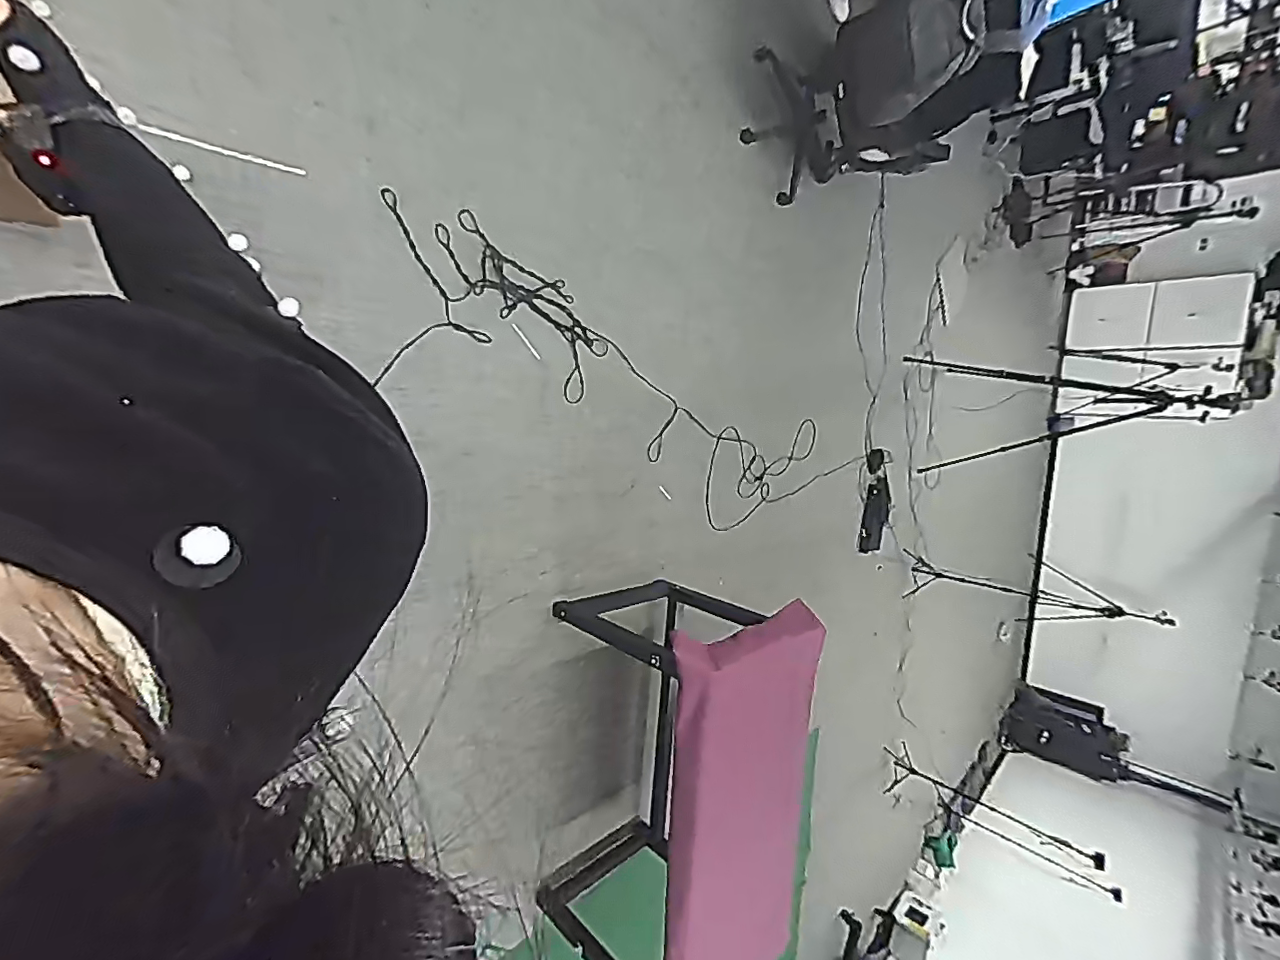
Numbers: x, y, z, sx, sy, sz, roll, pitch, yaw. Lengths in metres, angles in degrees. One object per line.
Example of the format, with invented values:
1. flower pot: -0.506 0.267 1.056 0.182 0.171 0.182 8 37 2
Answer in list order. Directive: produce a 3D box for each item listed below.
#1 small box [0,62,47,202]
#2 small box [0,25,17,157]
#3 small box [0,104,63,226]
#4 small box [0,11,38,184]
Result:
1. small box: -0.991 -0.519 0.773 0.179 0.176 0.168 -4 101 -44
2. small box: -0.768 -0.461 0.541 0.168 0.176 0.179 -7 104 -43
3. small box: -1.097 -0.539 0.896 0.179 0.176 0.168 -5 100 -44
4. small box: -0.876 -0.485 0.661 0.179 0.176 0.168 -7 102 -44
